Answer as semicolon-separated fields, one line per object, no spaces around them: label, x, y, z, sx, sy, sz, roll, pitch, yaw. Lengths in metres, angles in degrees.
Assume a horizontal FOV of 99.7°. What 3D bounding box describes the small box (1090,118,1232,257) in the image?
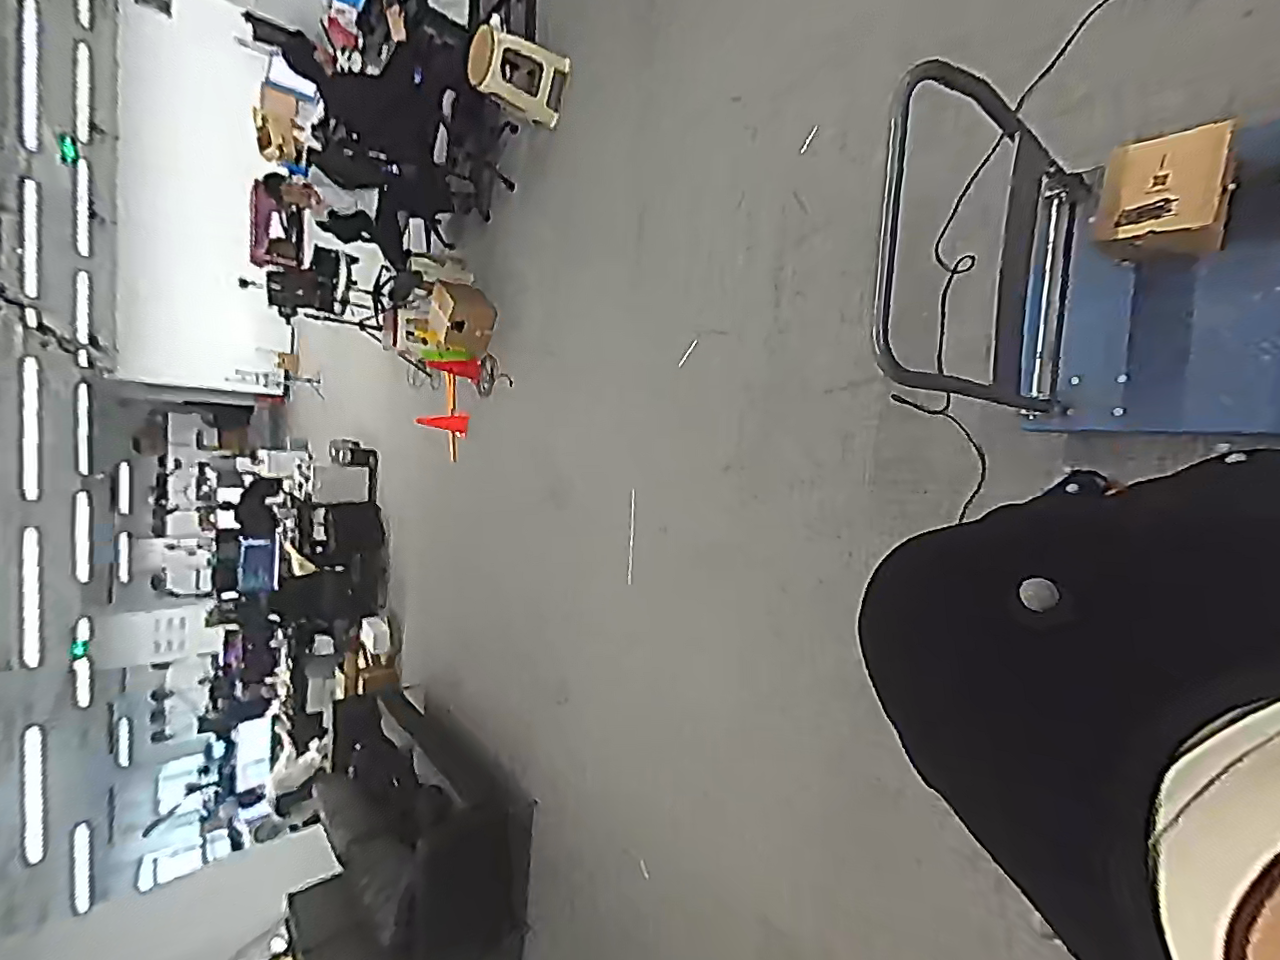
small box;0.999;-0.541;1.036;0.168;0.176;0.179;11;98;48
